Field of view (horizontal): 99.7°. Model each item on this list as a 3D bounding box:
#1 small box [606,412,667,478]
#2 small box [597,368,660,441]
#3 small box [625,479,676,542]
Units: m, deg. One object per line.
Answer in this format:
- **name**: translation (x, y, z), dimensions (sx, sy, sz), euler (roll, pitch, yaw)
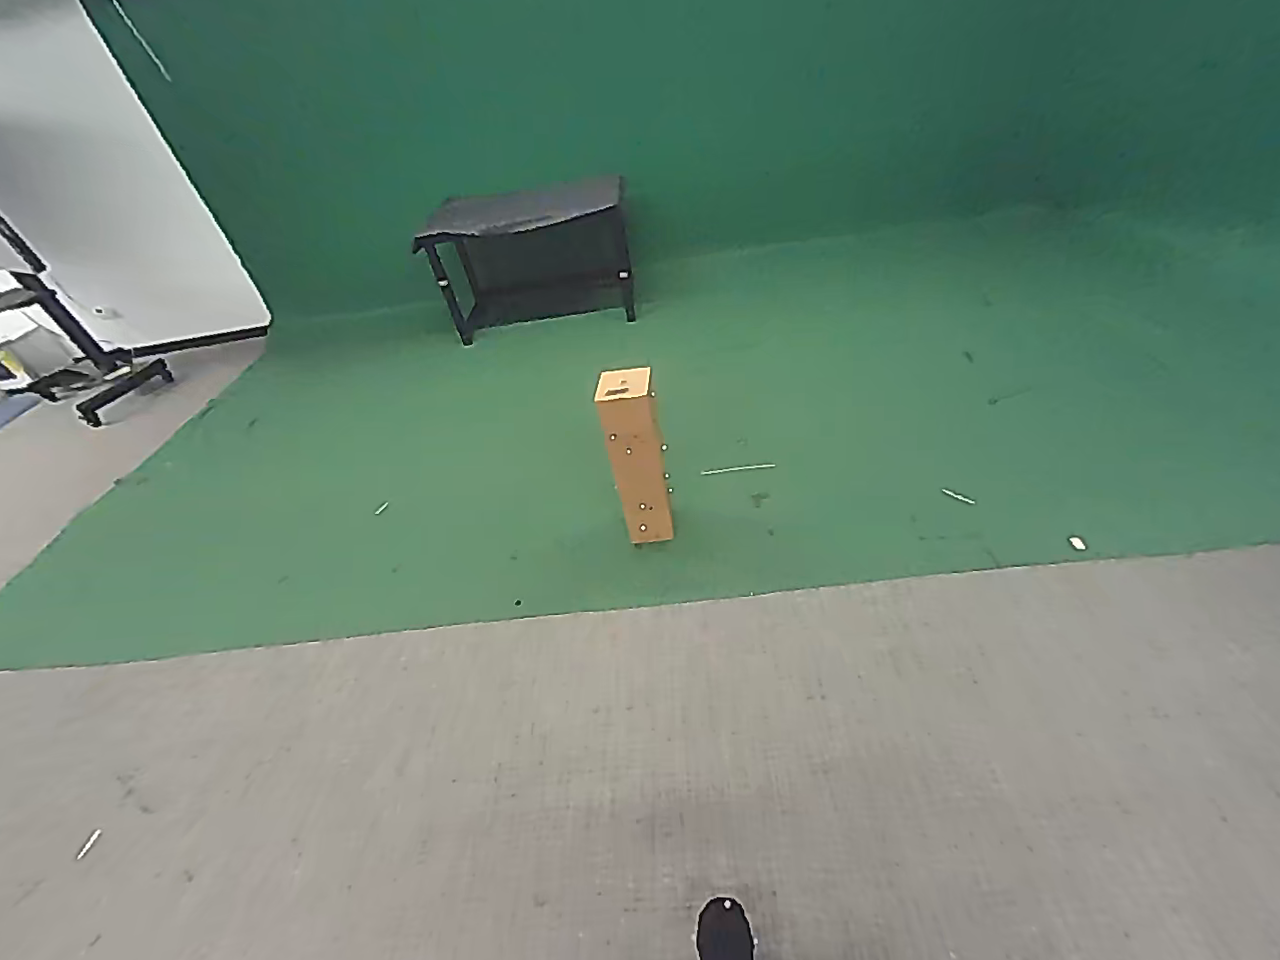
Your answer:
- **small box**: translation (-0.008, -0.120, 1.847), dimensions (0.179, 0.176, 0.168), euler (-5, 41, 9)
- **small box**: translation (-0.030, -0.236, 1.732), dimensions (0.168, 0.176, 0.179), euler (-4, 40, 10)
- **small box**: translation (0.043, 0.122, 2.063), dimensions (0.168, 0.176, 0.179), euler (-7, 40, 7)
